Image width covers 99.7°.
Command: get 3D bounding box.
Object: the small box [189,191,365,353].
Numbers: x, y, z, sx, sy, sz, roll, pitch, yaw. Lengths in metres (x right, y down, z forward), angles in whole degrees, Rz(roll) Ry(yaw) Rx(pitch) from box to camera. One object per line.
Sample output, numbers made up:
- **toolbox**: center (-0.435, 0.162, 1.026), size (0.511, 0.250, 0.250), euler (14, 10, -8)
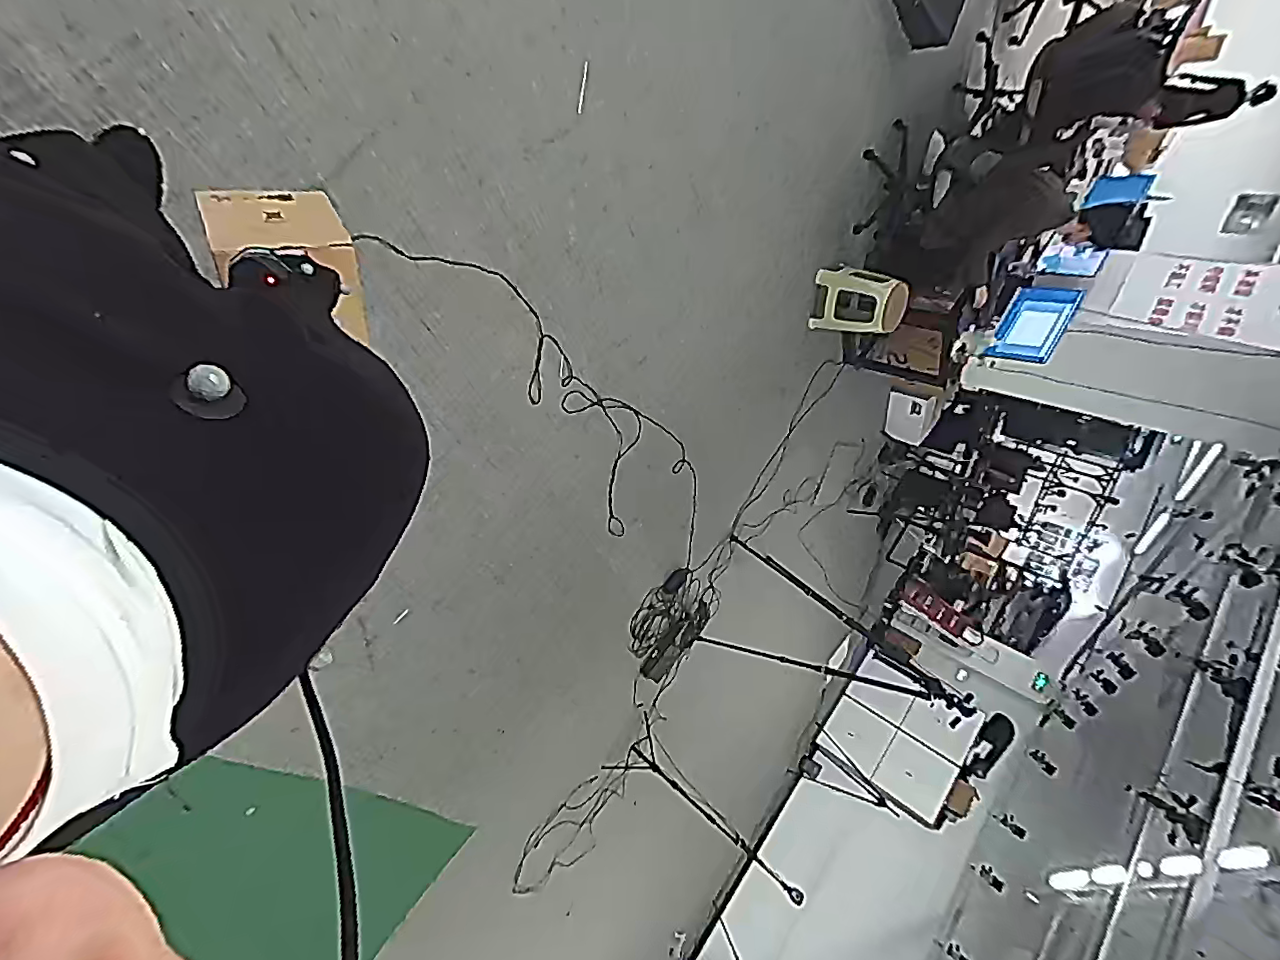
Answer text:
- **small box**: center (-0.534, -0.308, 0.814), size (0.168, 0.179, 0.176), euler (-21, 147, -31)
